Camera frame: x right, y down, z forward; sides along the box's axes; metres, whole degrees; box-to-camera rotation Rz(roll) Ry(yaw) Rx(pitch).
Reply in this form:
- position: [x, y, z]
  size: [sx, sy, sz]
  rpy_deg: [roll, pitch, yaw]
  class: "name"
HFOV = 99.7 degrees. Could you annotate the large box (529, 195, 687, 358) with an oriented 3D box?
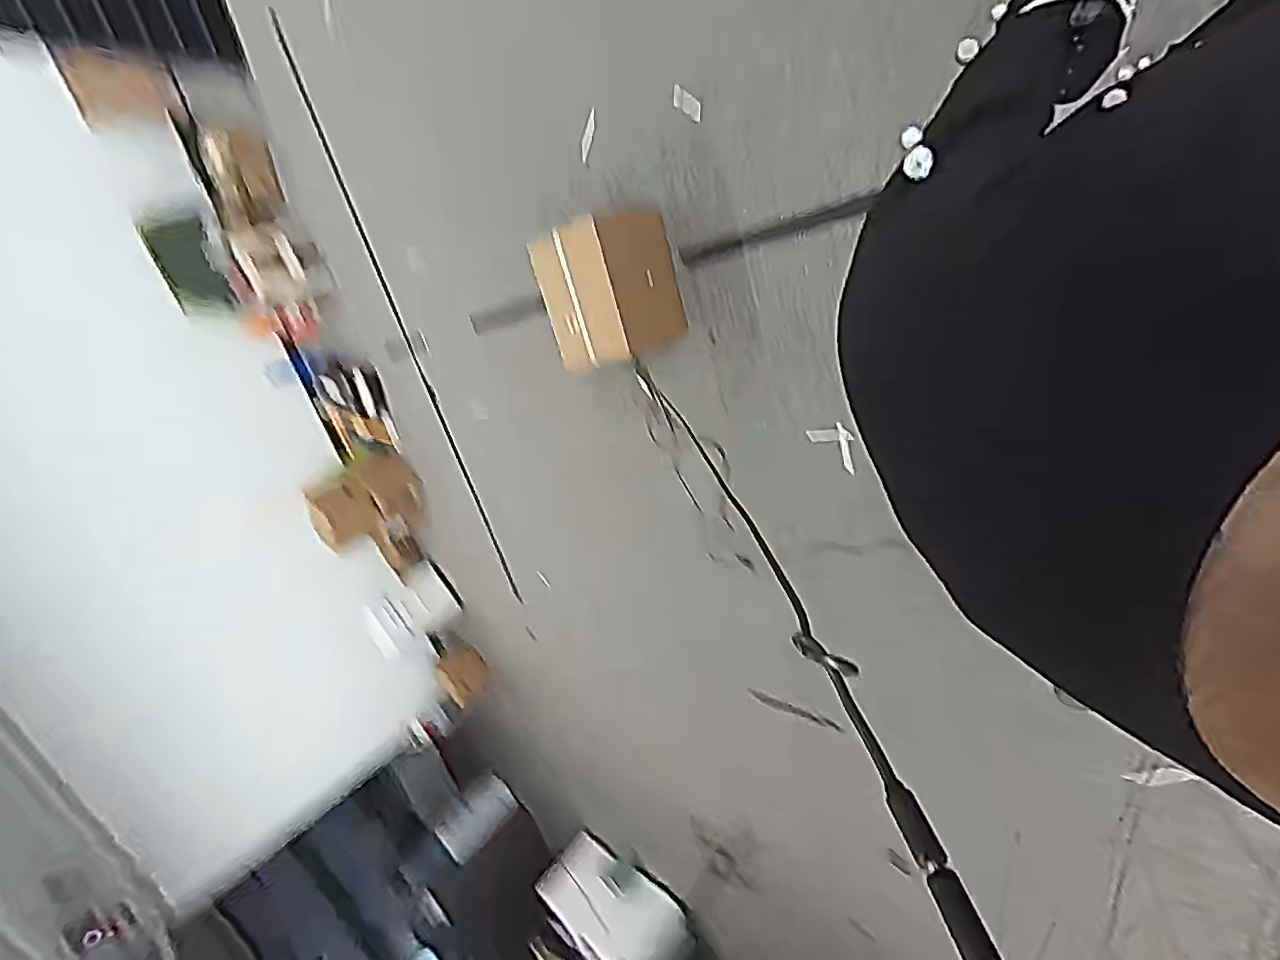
- position: [-0.092, -0.650, 1.749]
  size: [0.320, 0.320, 0.408]
  rpy_deg: [3, 118, 43]
  class: "large box"
